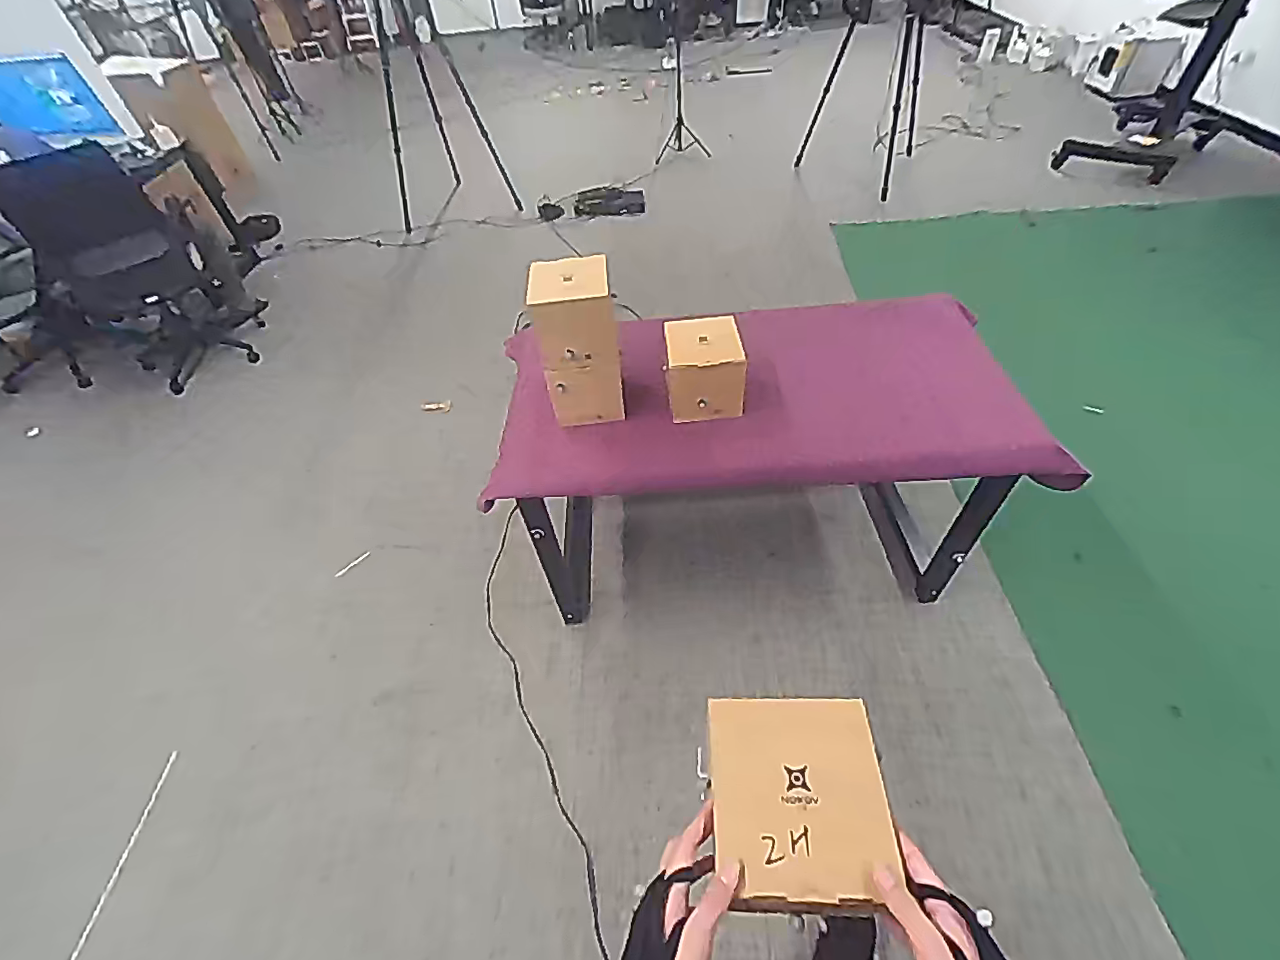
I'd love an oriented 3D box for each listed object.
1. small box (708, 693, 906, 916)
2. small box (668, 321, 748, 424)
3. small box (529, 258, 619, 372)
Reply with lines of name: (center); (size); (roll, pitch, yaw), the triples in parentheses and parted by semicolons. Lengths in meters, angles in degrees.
small box: (0.160, 0.351, 0.588); (0.168, 0.176, 0.179); (-1, 48, 5)
small box: (0.153, -0.253, 1.280); (0.168, 0.176, 0.179); (-5, 50, 1)
small box: (-0.137, -0.357, 1.176); (0.168, 0.176, 0.179); (-5, 49, 1)
